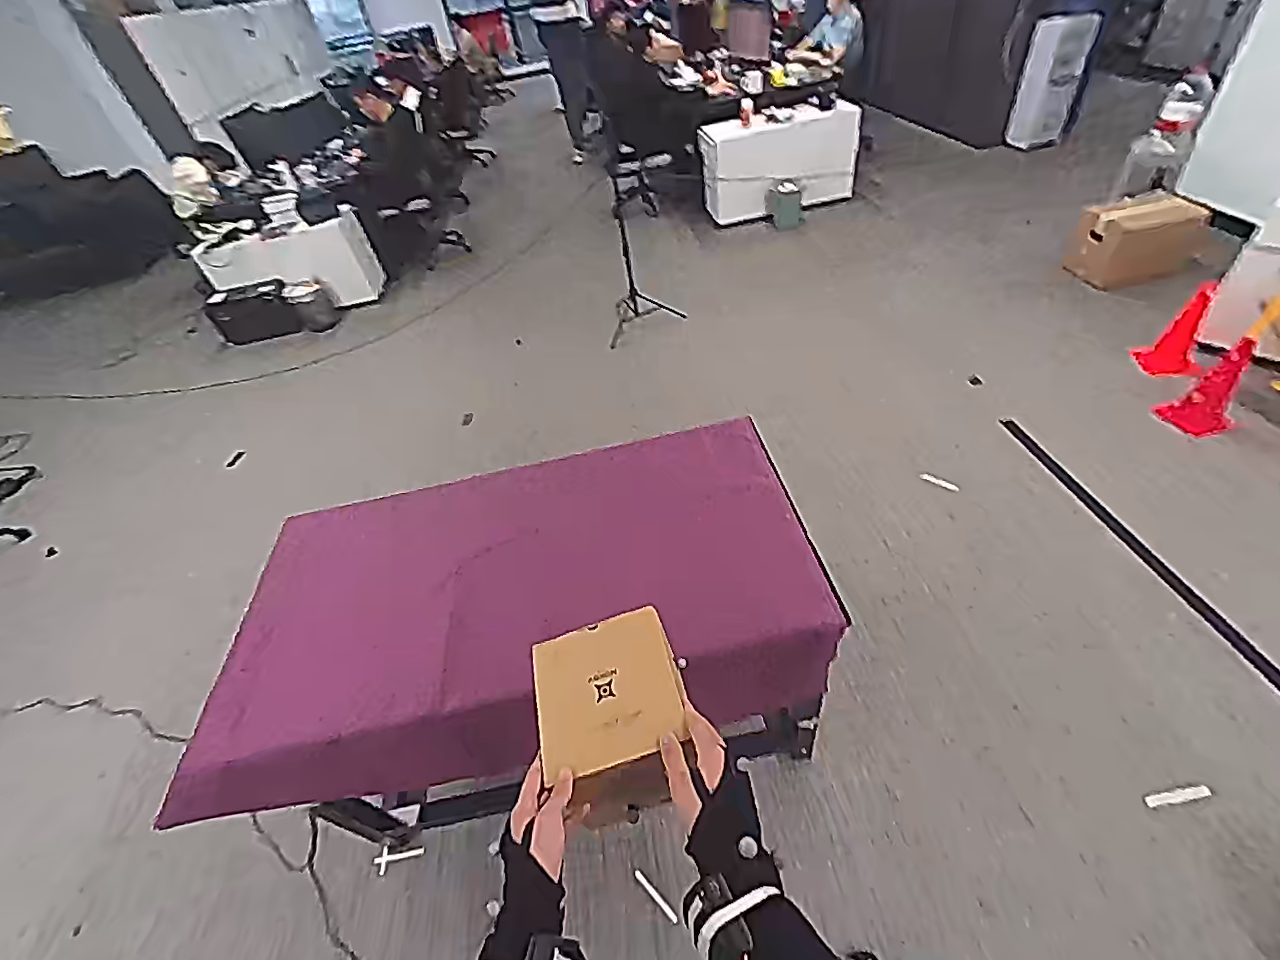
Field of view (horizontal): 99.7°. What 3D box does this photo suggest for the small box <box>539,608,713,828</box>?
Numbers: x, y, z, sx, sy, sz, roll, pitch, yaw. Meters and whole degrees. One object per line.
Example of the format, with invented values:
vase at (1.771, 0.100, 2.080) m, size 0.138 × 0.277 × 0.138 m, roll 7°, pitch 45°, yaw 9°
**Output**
small box at (-0.018, 0.297, 0.678) m, size 0.168 × 0.176 × 0.179 m, roll -18°, pitch 41°, yaw 1°
